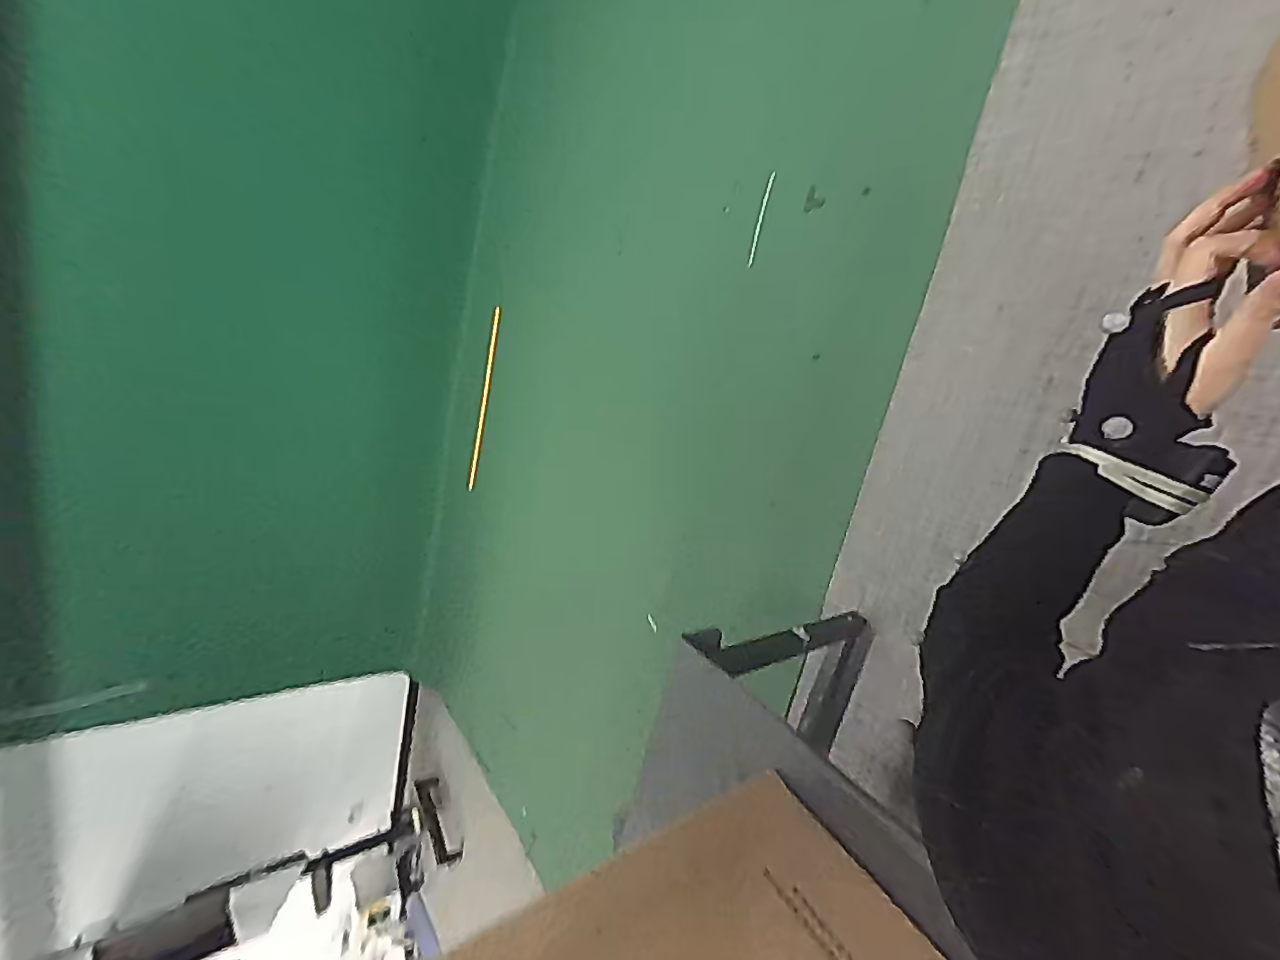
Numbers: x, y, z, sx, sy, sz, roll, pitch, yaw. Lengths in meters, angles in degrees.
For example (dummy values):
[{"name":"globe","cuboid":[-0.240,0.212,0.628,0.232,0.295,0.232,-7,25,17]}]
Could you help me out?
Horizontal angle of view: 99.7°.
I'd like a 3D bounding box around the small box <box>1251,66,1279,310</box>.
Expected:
[{"name":"small box","cuboid":[0.437,-0.185,0.247,0.179,0.176,0.168,-2,95,37]}]
